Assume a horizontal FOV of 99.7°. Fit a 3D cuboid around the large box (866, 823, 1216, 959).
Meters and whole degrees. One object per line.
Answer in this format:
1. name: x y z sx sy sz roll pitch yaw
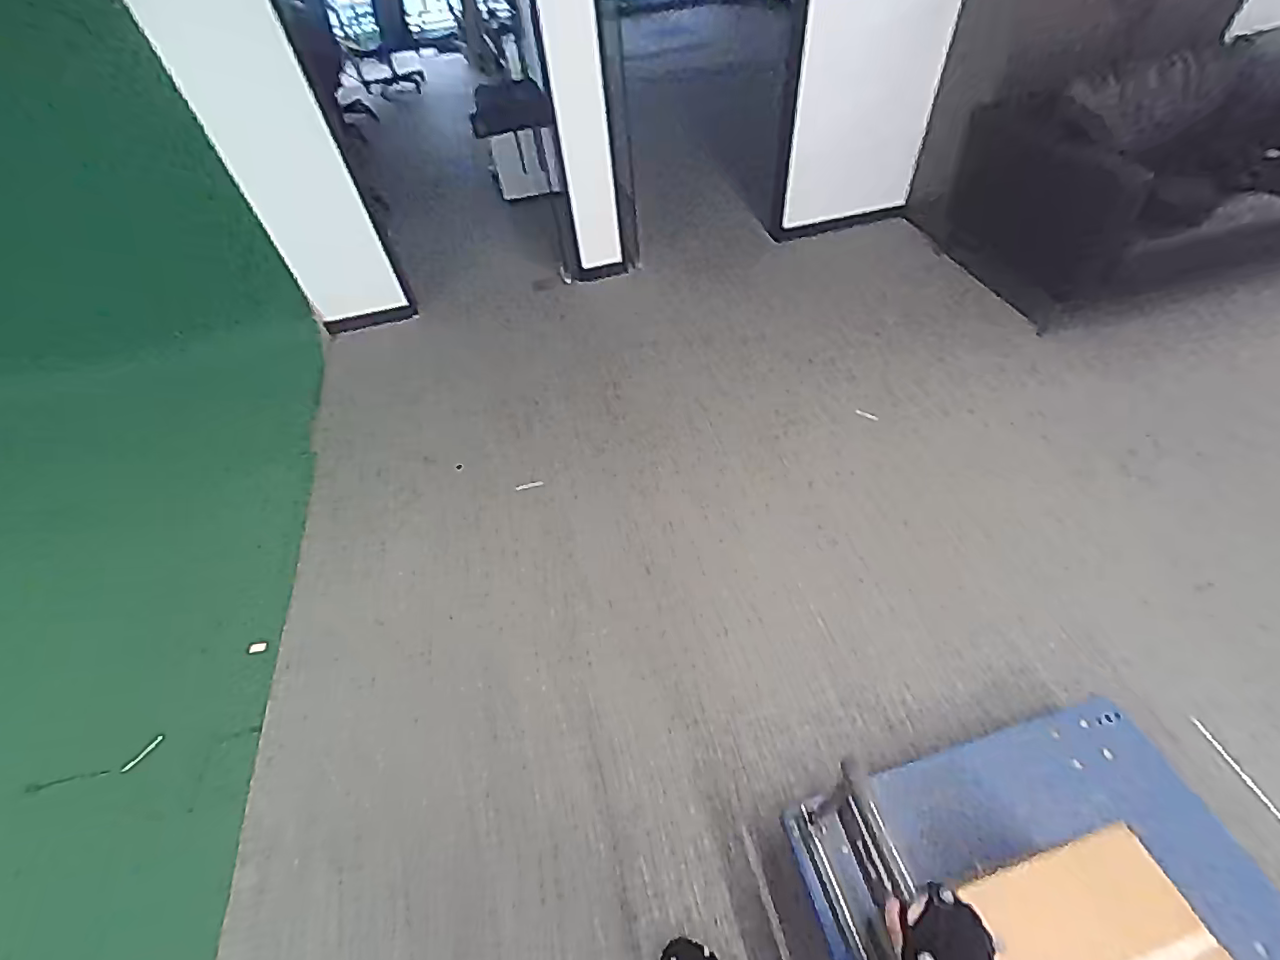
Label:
1. large box: 0.673 0.846 0.914 0.408 0.320 0.320 -15 51 -8
